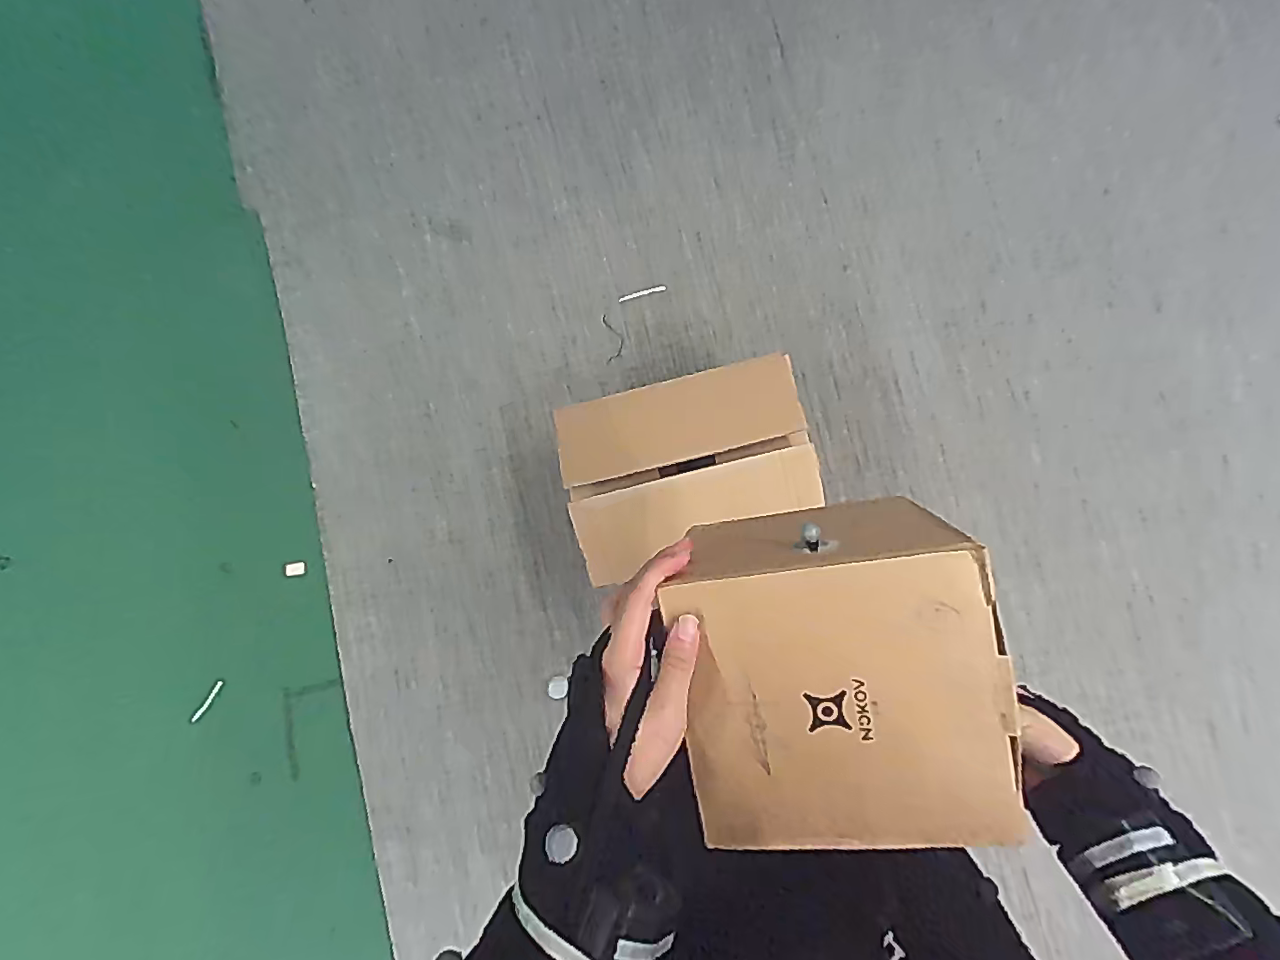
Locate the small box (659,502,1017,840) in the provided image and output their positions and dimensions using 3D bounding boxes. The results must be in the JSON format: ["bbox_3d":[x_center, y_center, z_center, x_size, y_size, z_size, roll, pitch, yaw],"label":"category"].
[{"bbox_3d":[0.124,0.116,0.383,0.179,0.176,0.168,-10,93,14],"label":"small box"}]
